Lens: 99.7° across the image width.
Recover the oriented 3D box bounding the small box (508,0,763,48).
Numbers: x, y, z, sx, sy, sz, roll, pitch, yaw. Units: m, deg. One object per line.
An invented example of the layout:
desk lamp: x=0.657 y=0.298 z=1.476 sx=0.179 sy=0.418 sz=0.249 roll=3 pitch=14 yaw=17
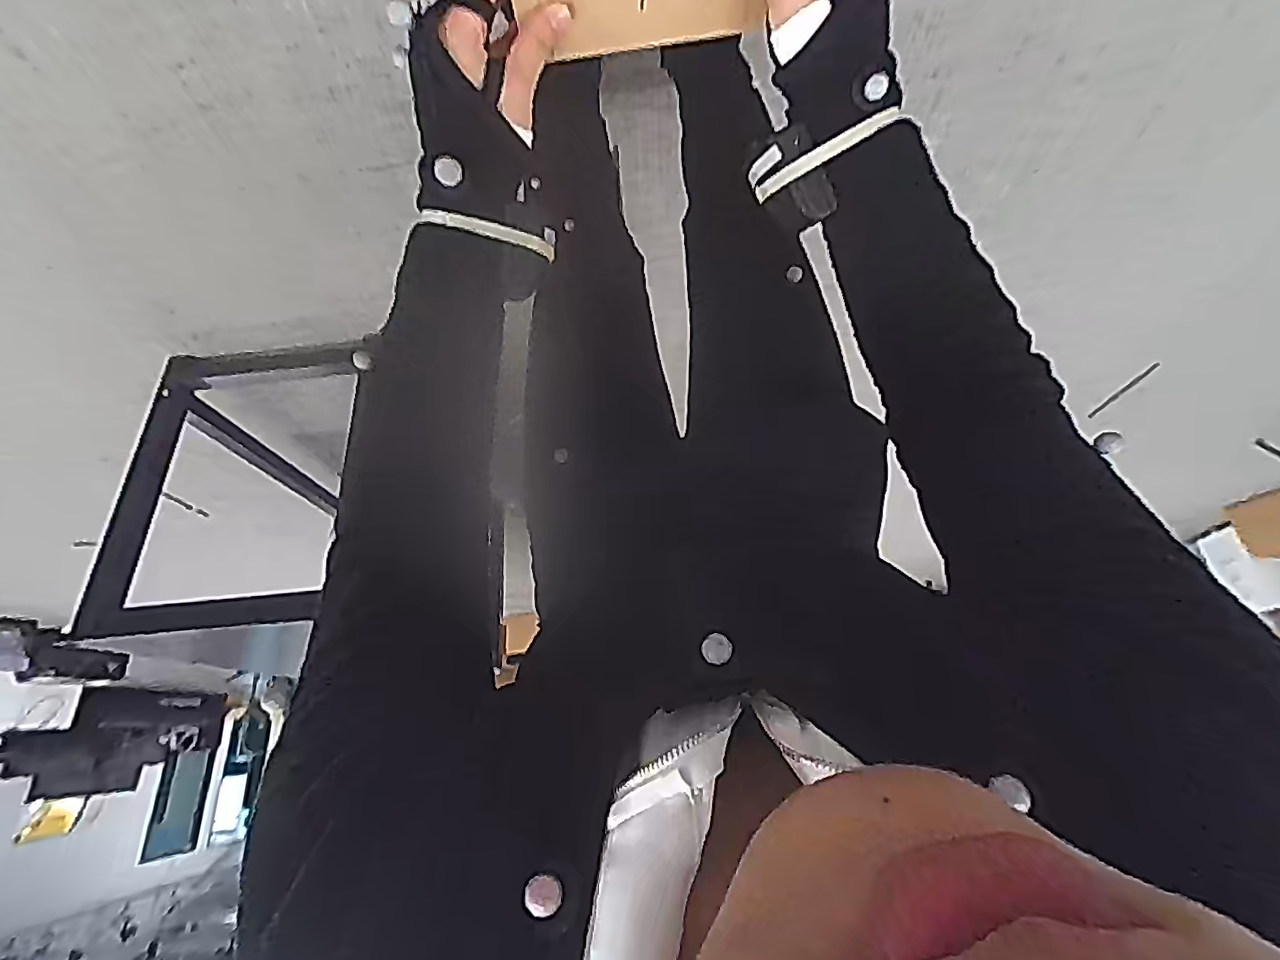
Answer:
small box: x=-0.016 y=-0.405 z=0.314 sx=0.168 sy=0.176 sz=0.179 roll=-8 pitch=155 yaw=0
